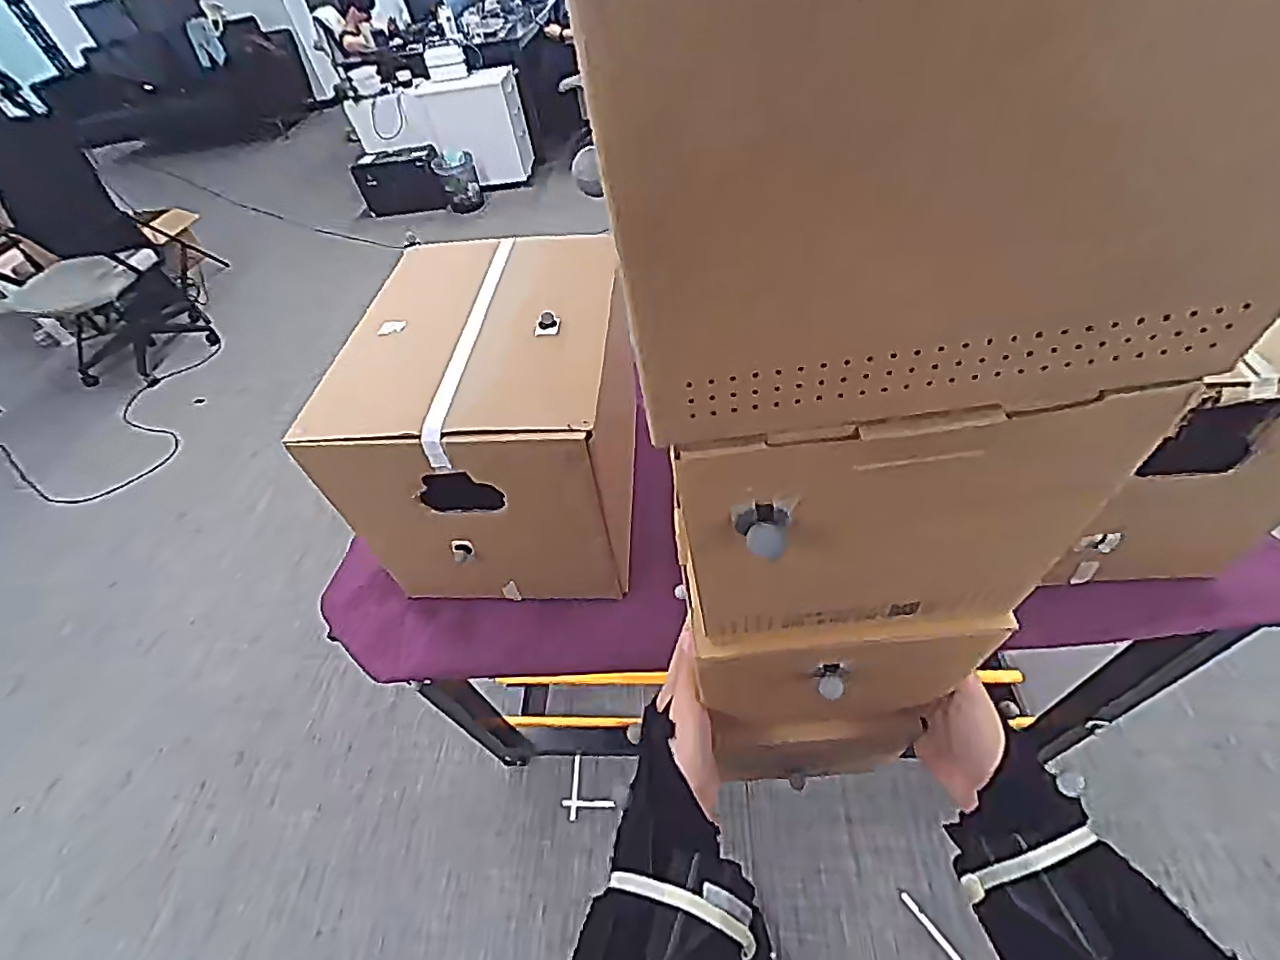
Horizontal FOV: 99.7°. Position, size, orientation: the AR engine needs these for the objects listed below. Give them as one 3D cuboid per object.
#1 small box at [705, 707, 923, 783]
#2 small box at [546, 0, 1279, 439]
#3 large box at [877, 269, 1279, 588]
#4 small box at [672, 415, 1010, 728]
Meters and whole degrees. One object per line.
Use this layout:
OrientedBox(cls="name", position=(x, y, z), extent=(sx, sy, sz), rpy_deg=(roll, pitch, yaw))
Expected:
OrientedBox(cls="small box", position=(0.144, 0.182, 0.529), extent=(0.168, 0.176, 0.179), rpy_deg=(-7, 53, 6))
OrientedBox(cls="small box", position=(0.073, -0.132, 0.156), extent=(0.179, 0.176, 0.168), rpy_deg=(-7, 50, 6))
OrientedBox(cls="large box", position=(0.520, -0.118, 0.682), extent=(0.320, 0.320, 0.408), rpy_deg=(-3, 47, 6))
OrientedBox(cls="small box", position=(0.124, 0.077, 0.407), extent=(0.179, 0.176, 0.168), rpy_deg=(-8, 52, 6))
